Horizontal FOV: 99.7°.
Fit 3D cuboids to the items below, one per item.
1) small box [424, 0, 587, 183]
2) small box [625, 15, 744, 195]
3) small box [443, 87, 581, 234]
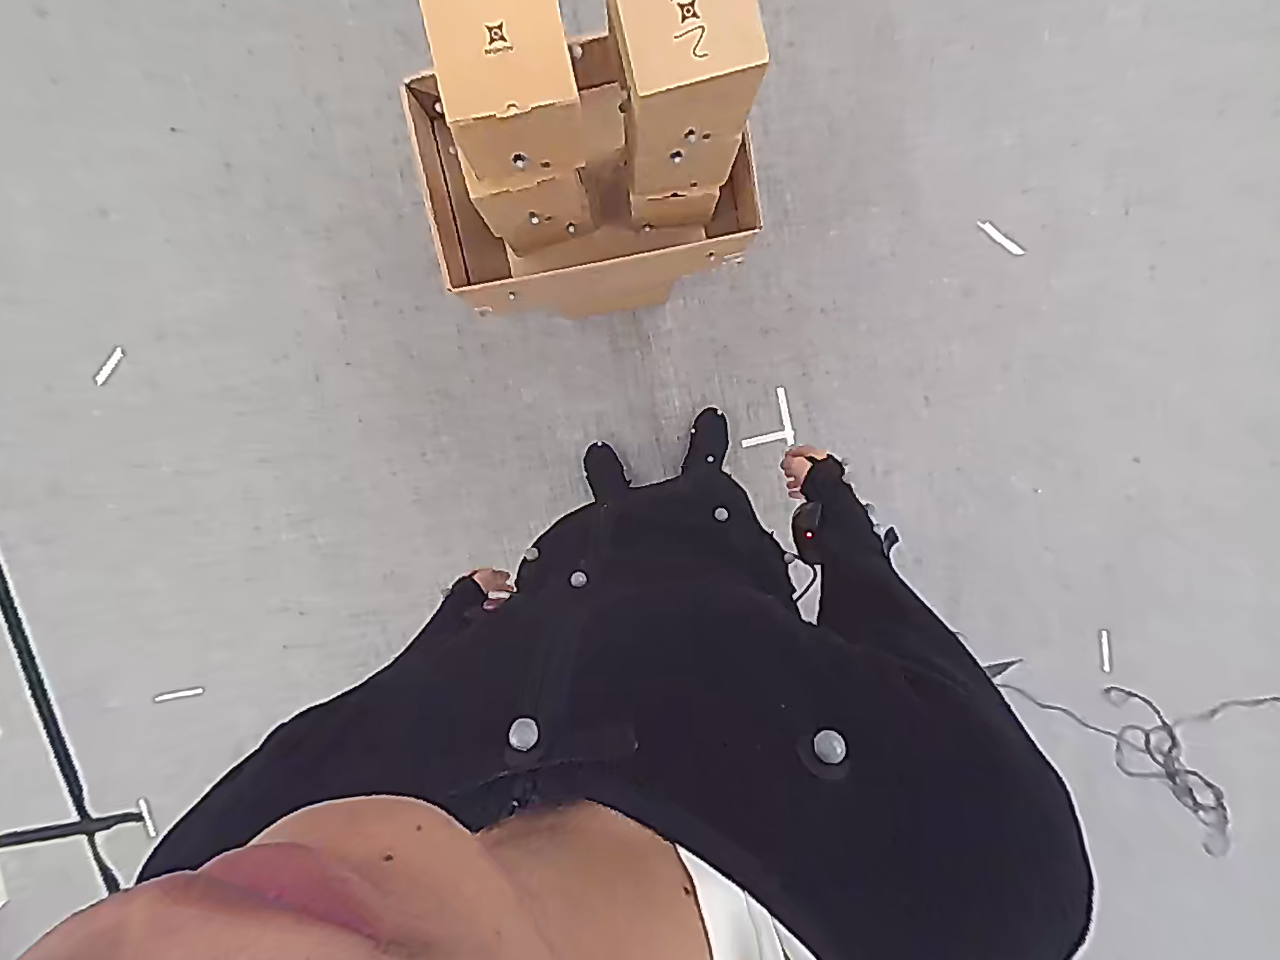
[{"bbox_3d":[-0.171,-0.539,0.730,0.168,0.176,0.179,-13,97,-1],"label":"small box"},{"bbox_3d":[0.065,-0.598,0.884,0.168,0.176,0.179,-8,96,1],"label":"small box"},{"bbox_3d":[-0.200,-0.538,0.893,0.168,0.176,0.179,-15,97,-1],"label":"small box"}]
